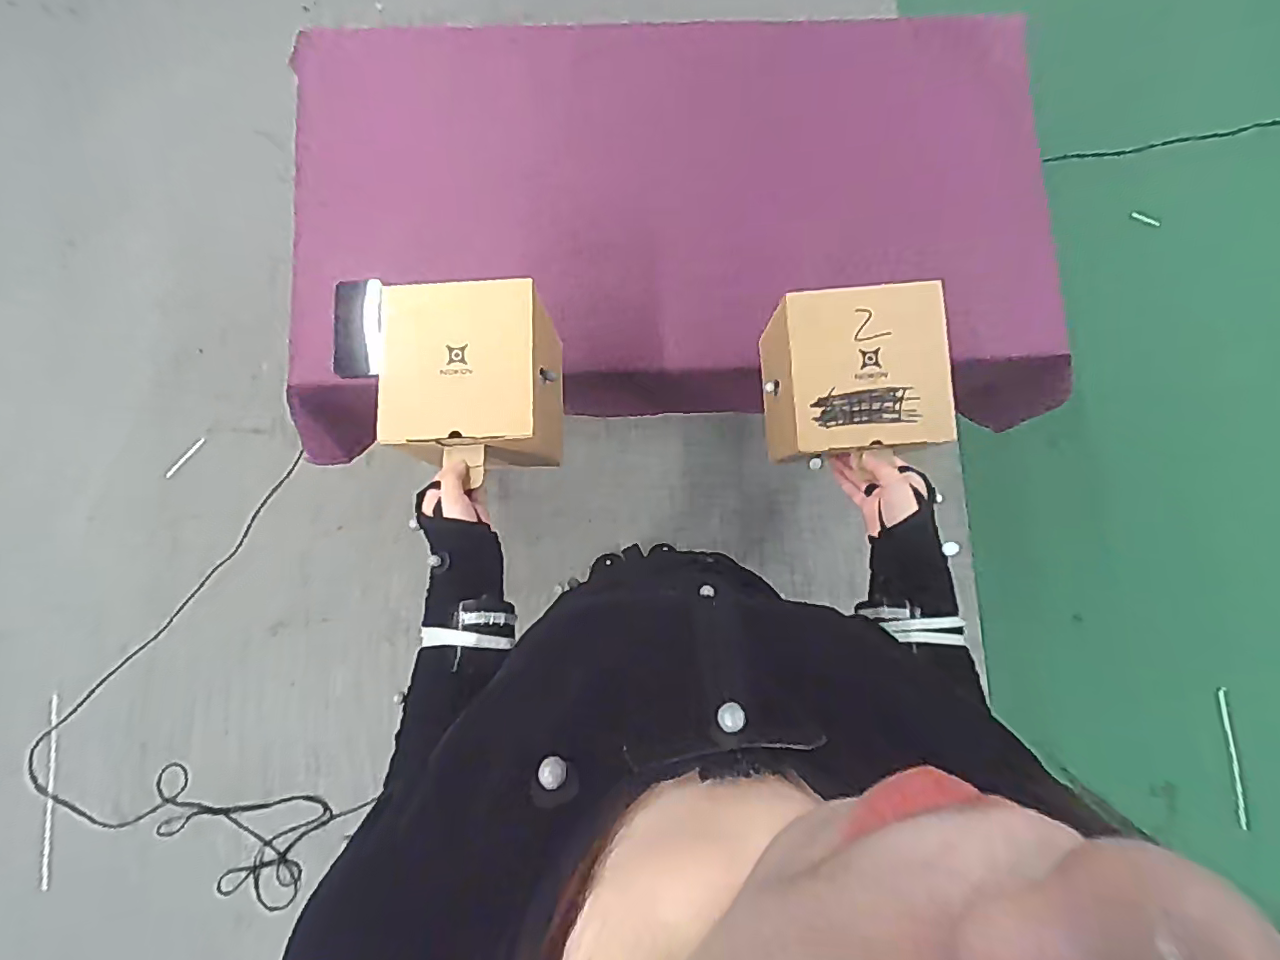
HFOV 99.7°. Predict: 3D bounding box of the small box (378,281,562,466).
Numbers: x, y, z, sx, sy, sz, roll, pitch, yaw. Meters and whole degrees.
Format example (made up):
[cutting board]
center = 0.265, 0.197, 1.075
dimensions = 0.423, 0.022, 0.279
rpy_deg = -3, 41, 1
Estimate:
[small box]
center = -0.191, -0.118, 0.653
dimensions = 0.168, 0.176, 0.179
rpy_deg = -1, 82, 2
